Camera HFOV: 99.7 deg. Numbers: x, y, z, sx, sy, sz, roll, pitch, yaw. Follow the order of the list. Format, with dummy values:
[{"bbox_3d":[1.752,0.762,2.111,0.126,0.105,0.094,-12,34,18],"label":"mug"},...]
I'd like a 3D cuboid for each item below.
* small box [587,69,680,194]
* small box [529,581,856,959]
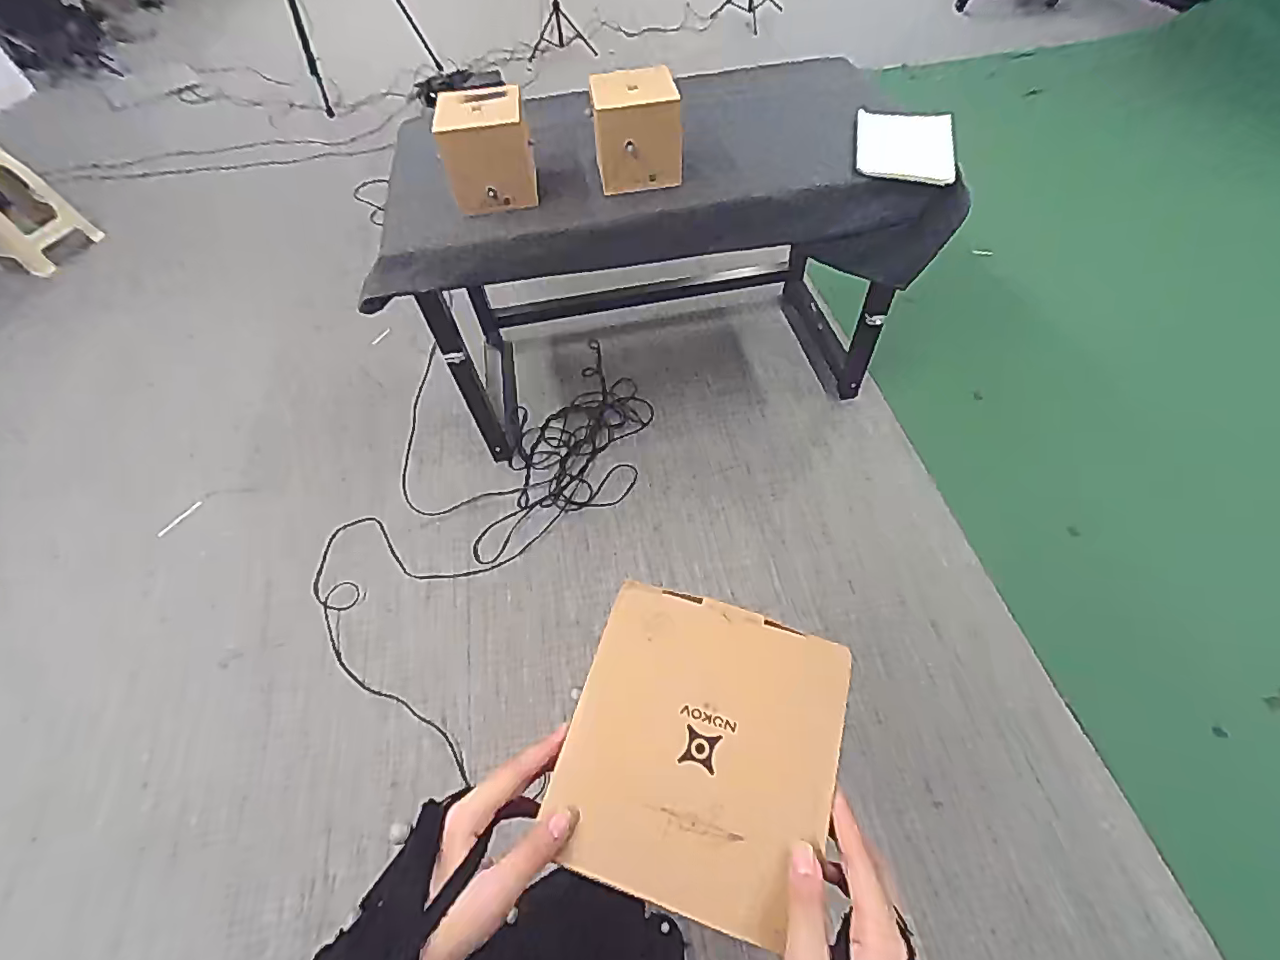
[{"bbox_3d":[-0.011,-0.719,1.129,0.168,0.176,0.179,-9,54,-2],"label":"small box"},{"bbox_3d":[0.040,0.203,0.400,0.168,0.176,0.179,16,63,11],"label":"small box"}]
